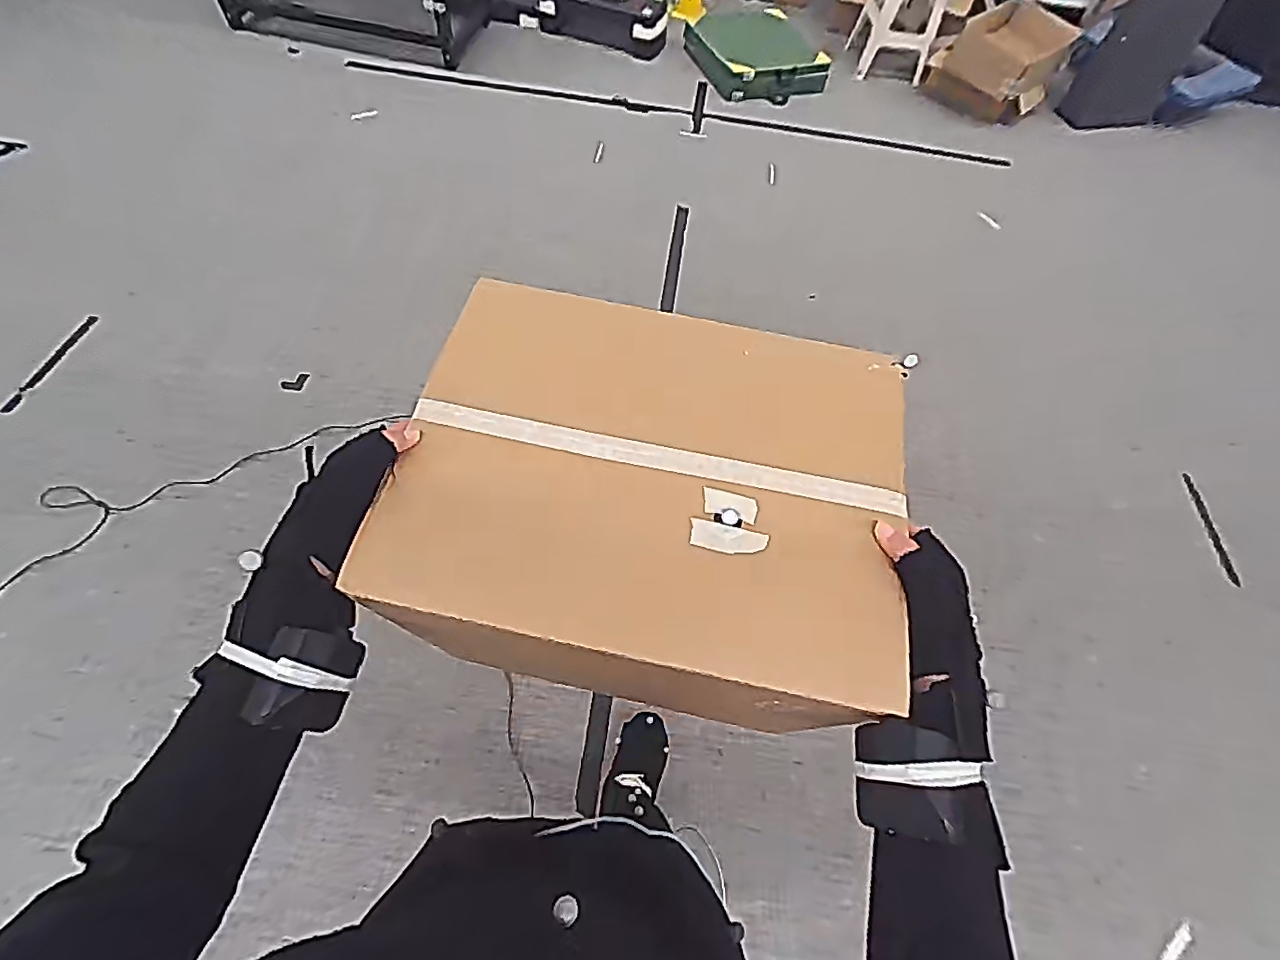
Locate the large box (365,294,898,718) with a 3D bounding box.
[{"bbox_3d":[0.008,0.050,0.589,0.408,0.320,0.320,12,64,3],"label":"large box"}]
